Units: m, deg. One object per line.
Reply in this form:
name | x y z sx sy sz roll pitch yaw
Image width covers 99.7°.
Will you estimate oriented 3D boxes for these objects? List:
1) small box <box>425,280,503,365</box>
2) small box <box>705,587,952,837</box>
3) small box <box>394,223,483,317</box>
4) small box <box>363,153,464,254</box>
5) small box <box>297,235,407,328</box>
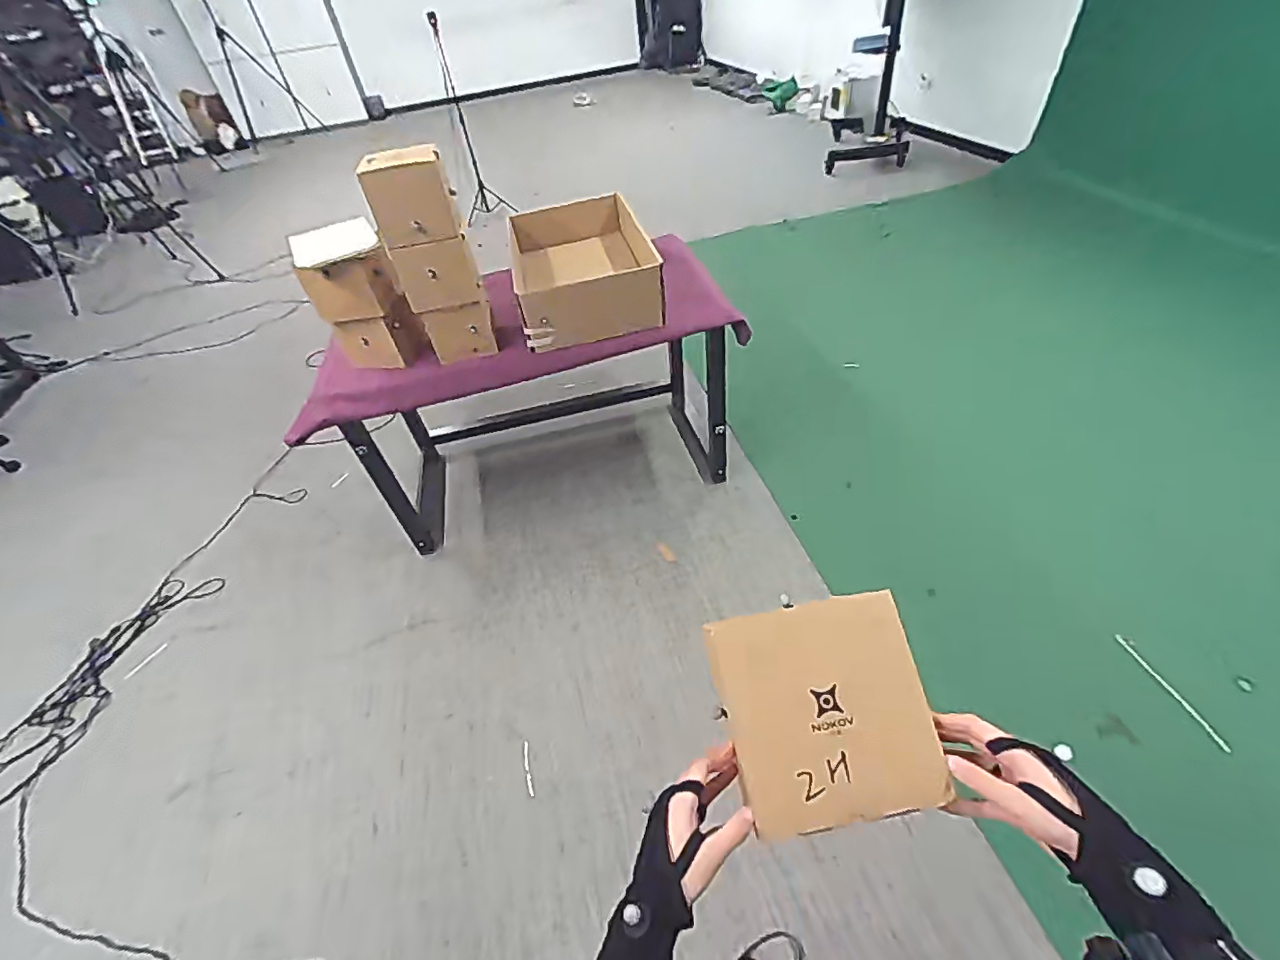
small box | -0.494 -0.441 1.539 0.168 0.176 0.179 -13 43 -5
small box | 0.162 0.214 0.535 0.168 0.176 0.179 -12 75 2
small box | -0.517 -0.548 1.417 0.179 0.176 0.168 -13 43 -6
small box | -0.534 -0.667 1.305 0.179 0.176 0.168 -12 43 -5
small box | -0.748 -0.523 1.431 0.179 0.176 0.168 -5 44 5
